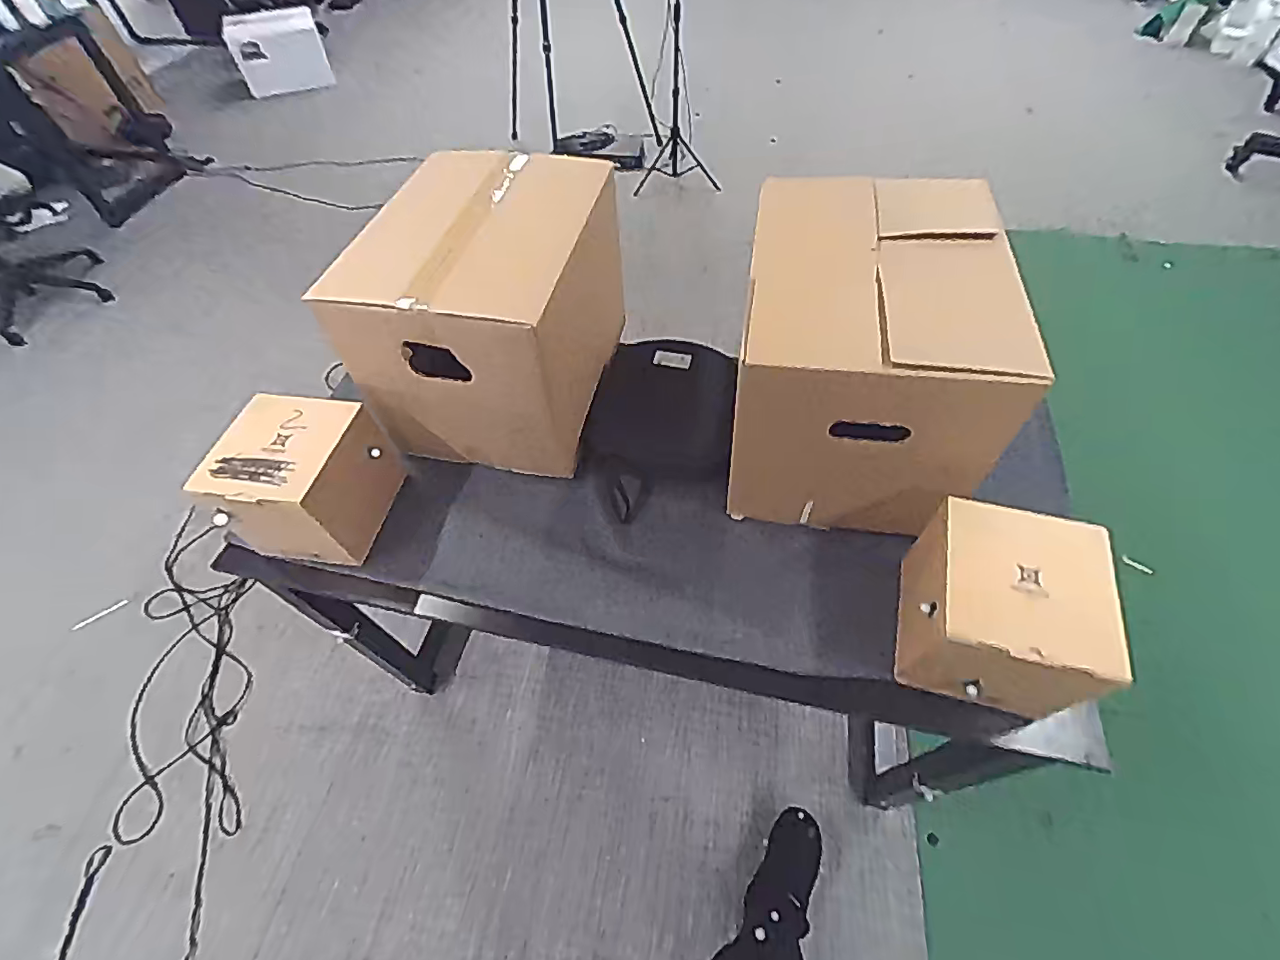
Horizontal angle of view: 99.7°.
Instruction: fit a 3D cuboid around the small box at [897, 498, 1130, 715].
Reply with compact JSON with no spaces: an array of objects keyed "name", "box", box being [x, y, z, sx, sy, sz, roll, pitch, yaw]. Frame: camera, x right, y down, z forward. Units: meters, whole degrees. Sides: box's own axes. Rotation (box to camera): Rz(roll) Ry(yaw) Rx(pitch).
[{"name":"small box","box":[0.418,0.152,0.639,0.168,0.176,0.179,13,58,13]}]
